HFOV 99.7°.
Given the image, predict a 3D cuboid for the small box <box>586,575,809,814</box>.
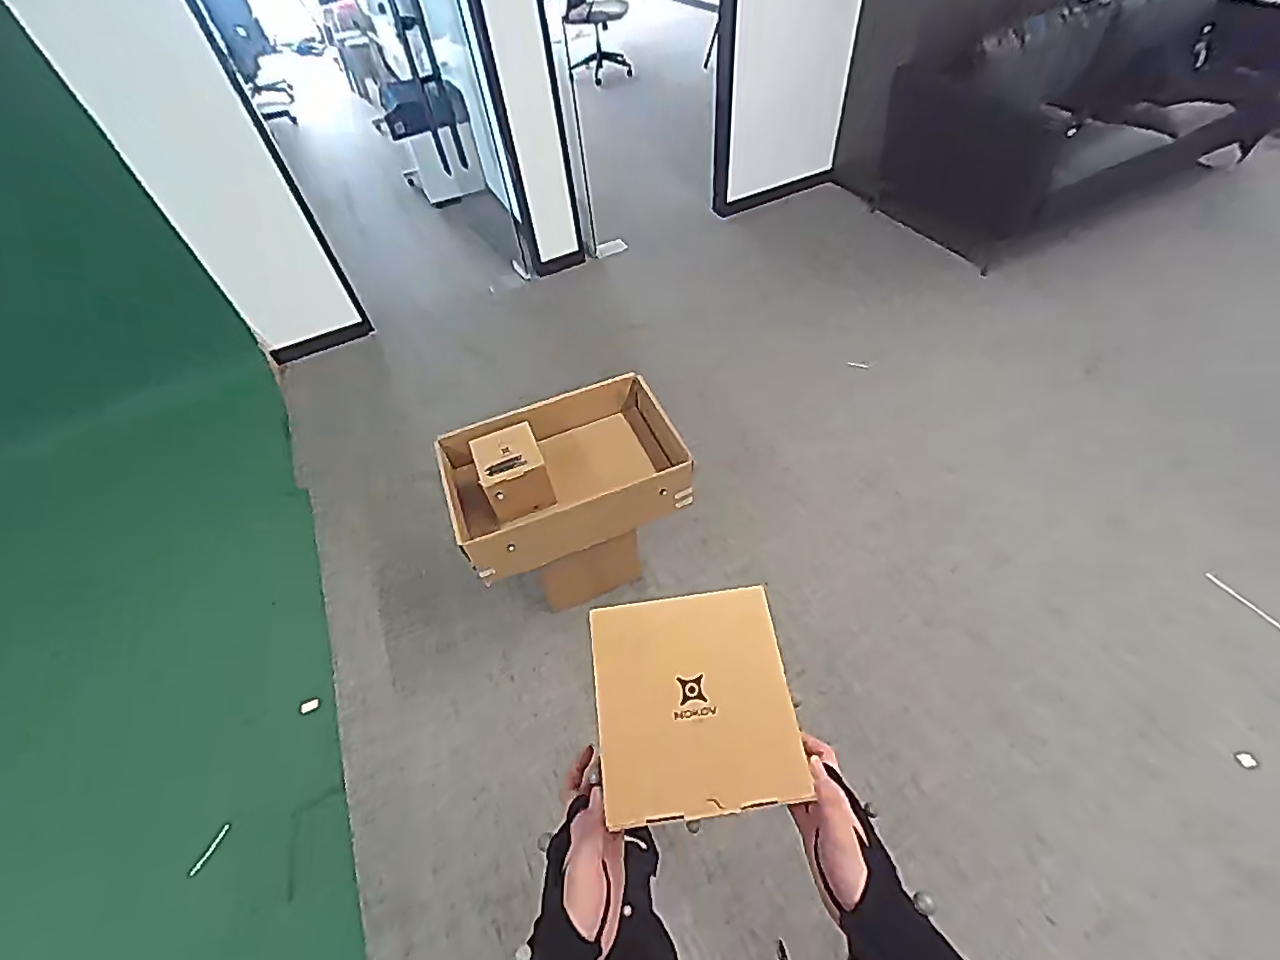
[{"bbox_3d":[0.042,0.210,0.522,0.168,0.176,0.179,-8,60,-1],"label":"small box"}]
